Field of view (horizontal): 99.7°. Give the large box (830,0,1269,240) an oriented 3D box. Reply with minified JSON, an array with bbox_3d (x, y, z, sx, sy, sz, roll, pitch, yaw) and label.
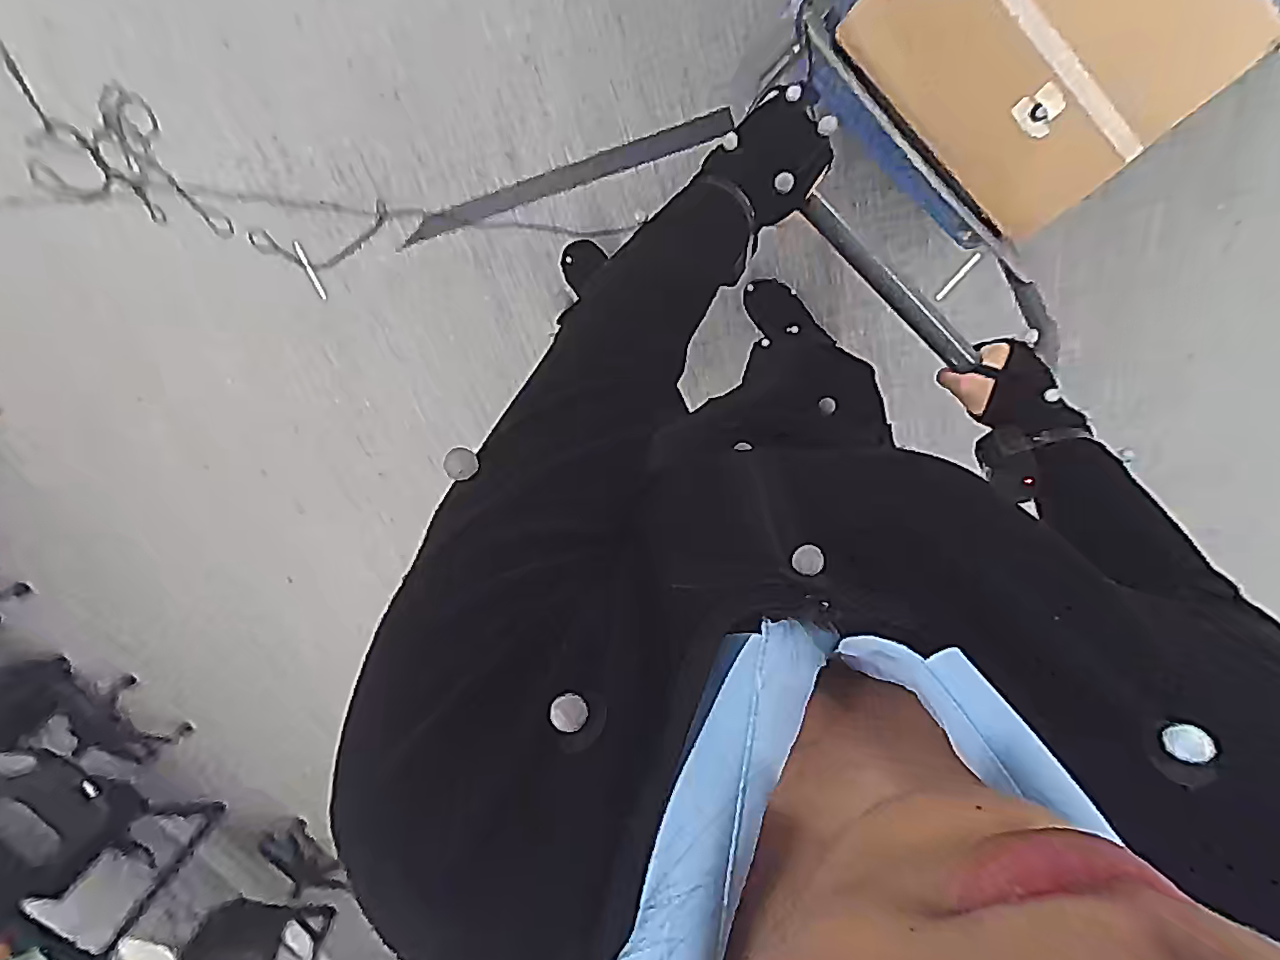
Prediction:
[{"bbox_3d":[0.536,-0.649,0.794,0.408,0.320,0.320,38,131,-14],"label":"large box"}]
